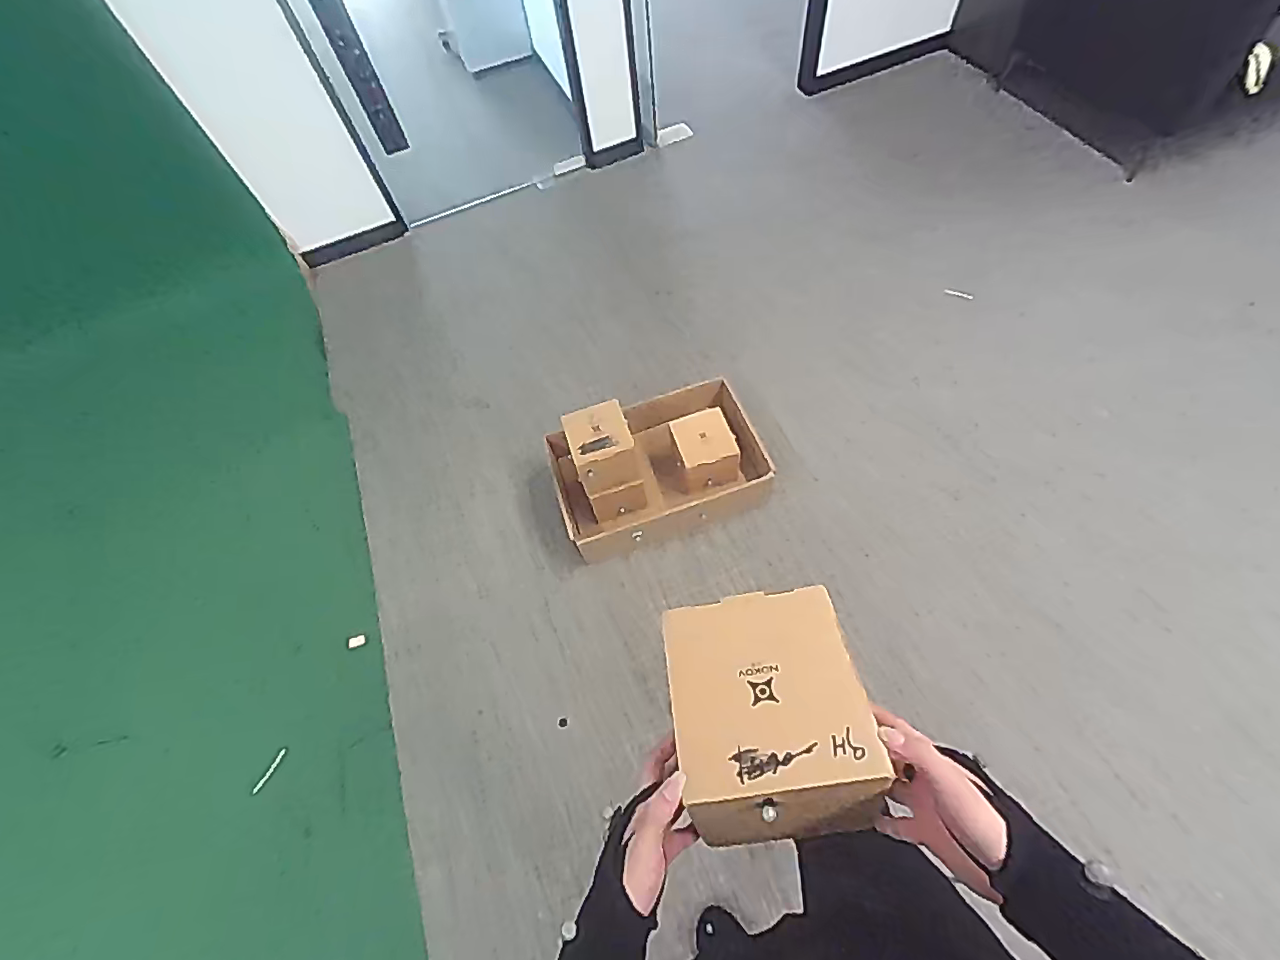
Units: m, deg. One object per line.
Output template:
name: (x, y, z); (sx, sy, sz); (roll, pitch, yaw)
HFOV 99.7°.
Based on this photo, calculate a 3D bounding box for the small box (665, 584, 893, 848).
small box: (0.123, 0.231, 0.530); (0.168, 0.176, 0.179); (-11, 44, 6)

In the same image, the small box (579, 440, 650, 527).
small box: (-0.075, 0.013, 1.638); (0.168, 0.176, 0.179); (-18, 59, -3)
